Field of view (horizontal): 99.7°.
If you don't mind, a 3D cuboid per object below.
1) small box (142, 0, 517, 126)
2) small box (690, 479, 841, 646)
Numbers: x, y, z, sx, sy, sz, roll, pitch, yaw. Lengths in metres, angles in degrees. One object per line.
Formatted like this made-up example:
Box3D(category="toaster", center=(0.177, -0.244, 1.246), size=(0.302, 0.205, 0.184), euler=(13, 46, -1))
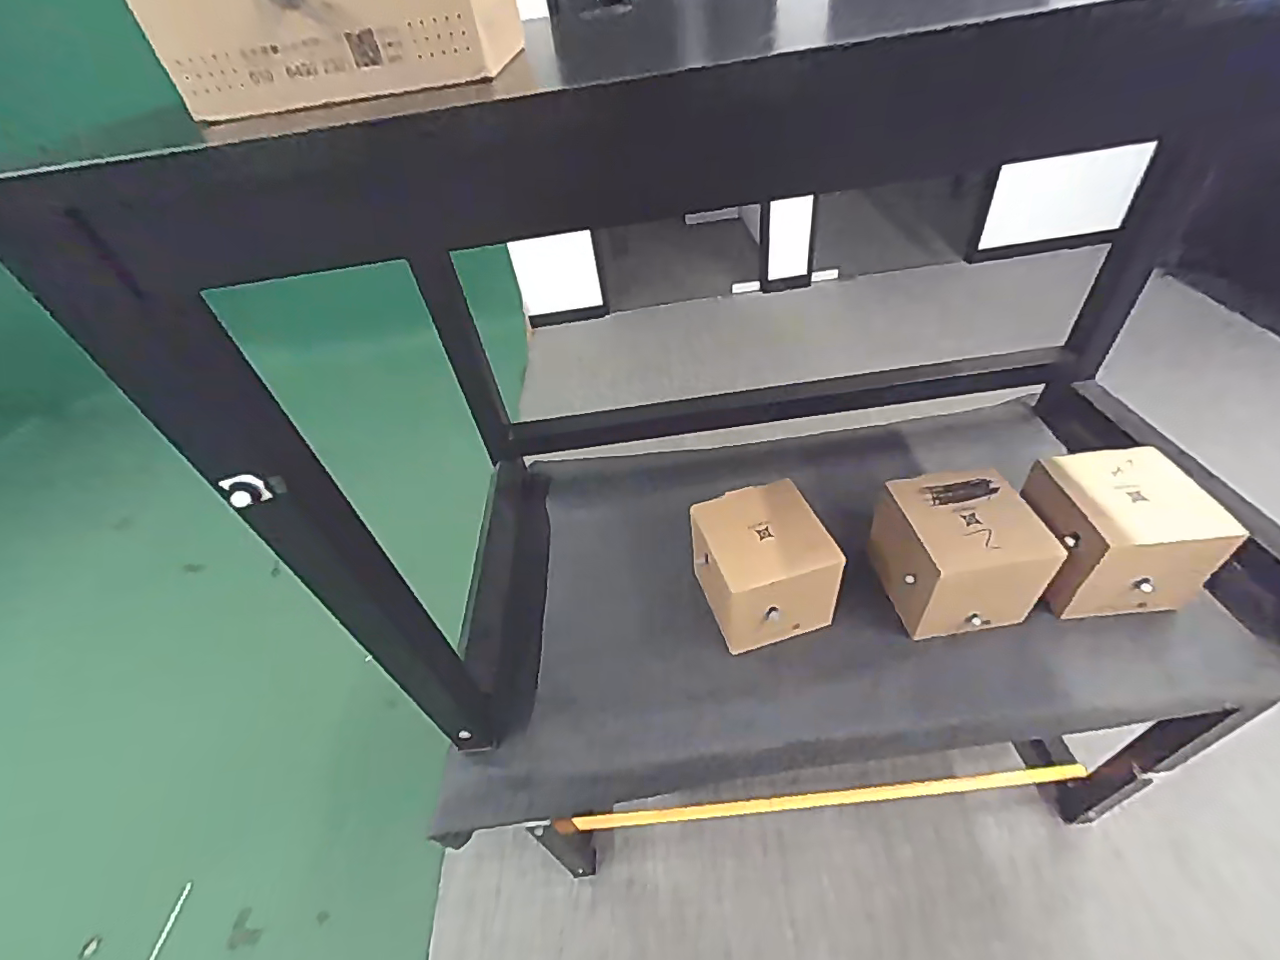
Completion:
Box3D(category="small box", center=(-0.175, -0.316, 0.302), size=(0.168, 0.176, 0.179), euler=(-7, 44, 3))
Box3D(category="small box", center=(0.186, 0.133, 0.833), size=(0.168, 0.176, 0.179), euler=(-15, 43, -6))
